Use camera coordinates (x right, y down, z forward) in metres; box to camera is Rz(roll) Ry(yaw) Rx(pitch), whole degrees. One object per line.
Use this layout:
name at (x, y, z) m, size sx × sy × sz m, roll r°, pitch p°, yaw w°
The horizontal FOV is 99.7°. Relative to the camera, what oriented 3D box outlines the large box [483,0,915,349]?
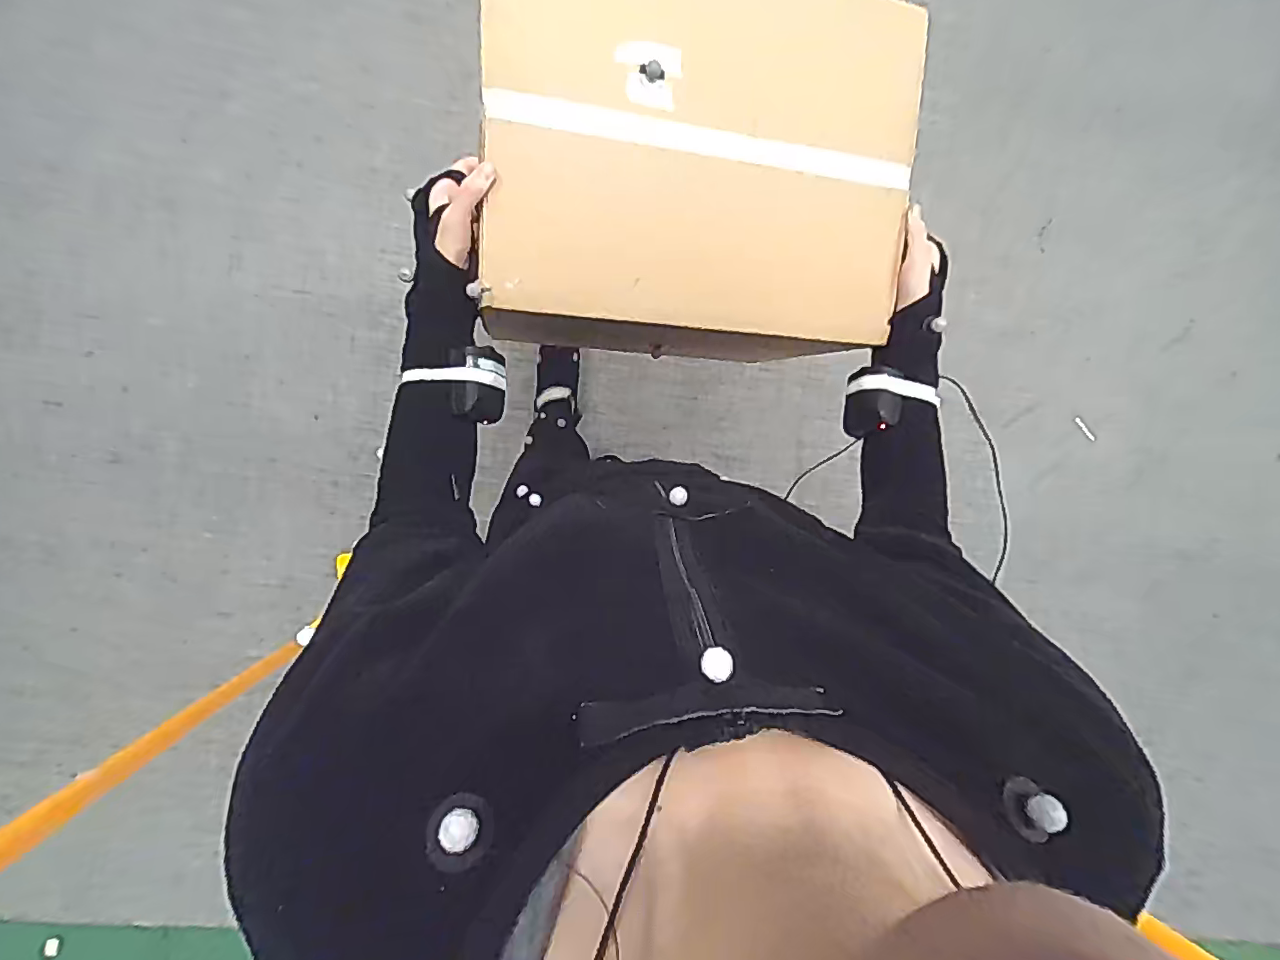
large box at (0.033, -0.328, 0.640) m, size 0.408 × 0.320 × 0.320 m, roll 1°, pitch 98°, yaw -13°
